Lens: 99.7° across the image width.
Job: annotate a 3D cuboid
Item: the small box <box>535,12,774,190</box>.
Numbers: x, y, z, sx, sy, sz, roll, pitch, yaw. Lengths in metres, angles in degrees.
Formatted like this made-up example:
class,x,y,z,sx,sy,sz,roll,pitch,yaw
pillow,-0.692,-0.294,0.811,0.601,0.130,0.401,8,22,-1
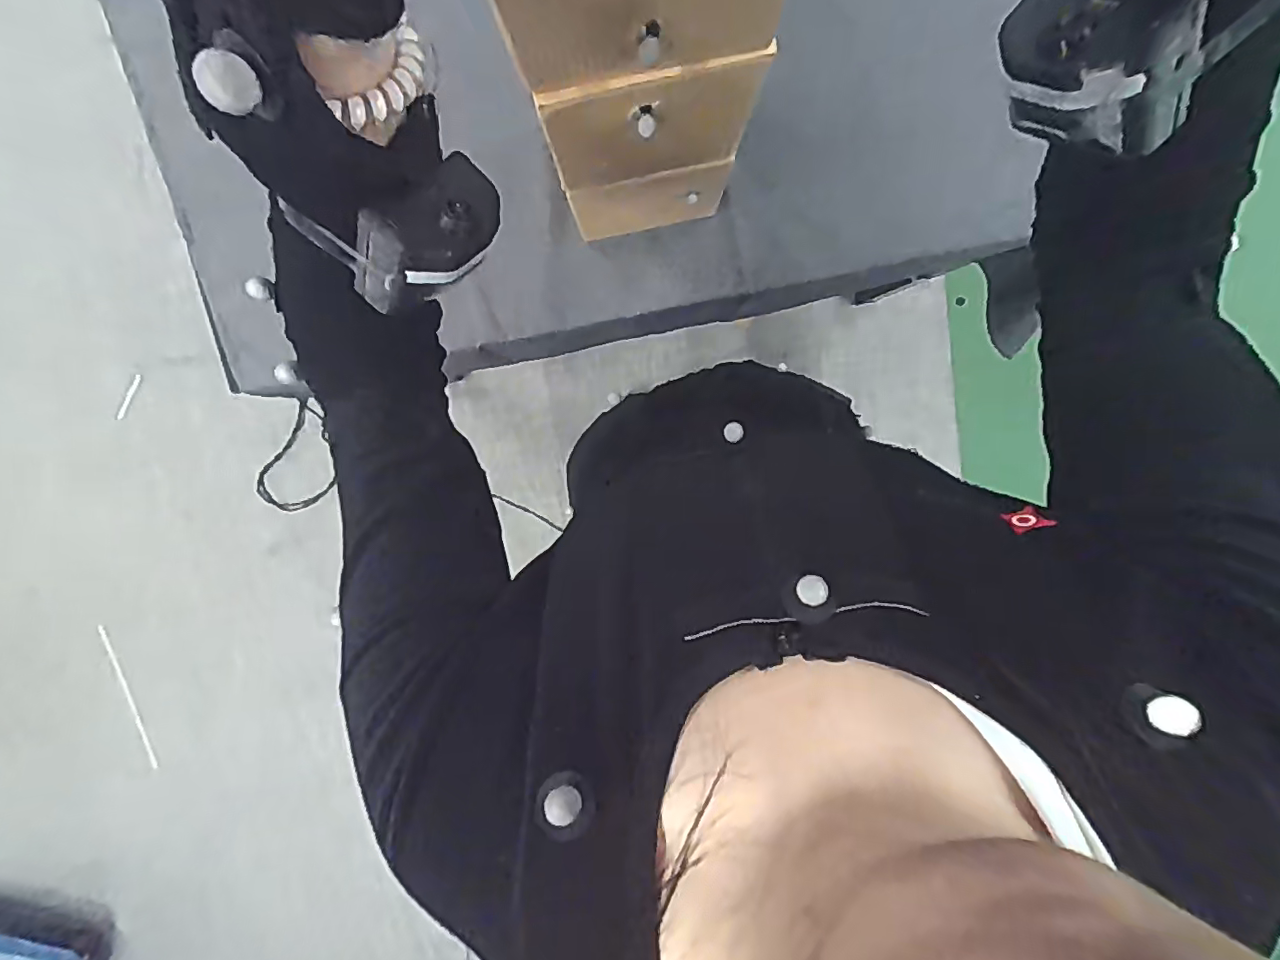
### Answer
class,x,y,z,sx,sy,sz,roll,pitch,yaw
small box,-0.003,-0.372,0.453,0.179,0.176,0.168,-11,99,3

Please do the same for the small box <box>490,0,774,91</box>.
class,x,y,z,sx,sy,sz,roll,pitch,yaw
small box,-0.009,-0.352,0.290,0.179,0.176,0.168,-9,98,2
